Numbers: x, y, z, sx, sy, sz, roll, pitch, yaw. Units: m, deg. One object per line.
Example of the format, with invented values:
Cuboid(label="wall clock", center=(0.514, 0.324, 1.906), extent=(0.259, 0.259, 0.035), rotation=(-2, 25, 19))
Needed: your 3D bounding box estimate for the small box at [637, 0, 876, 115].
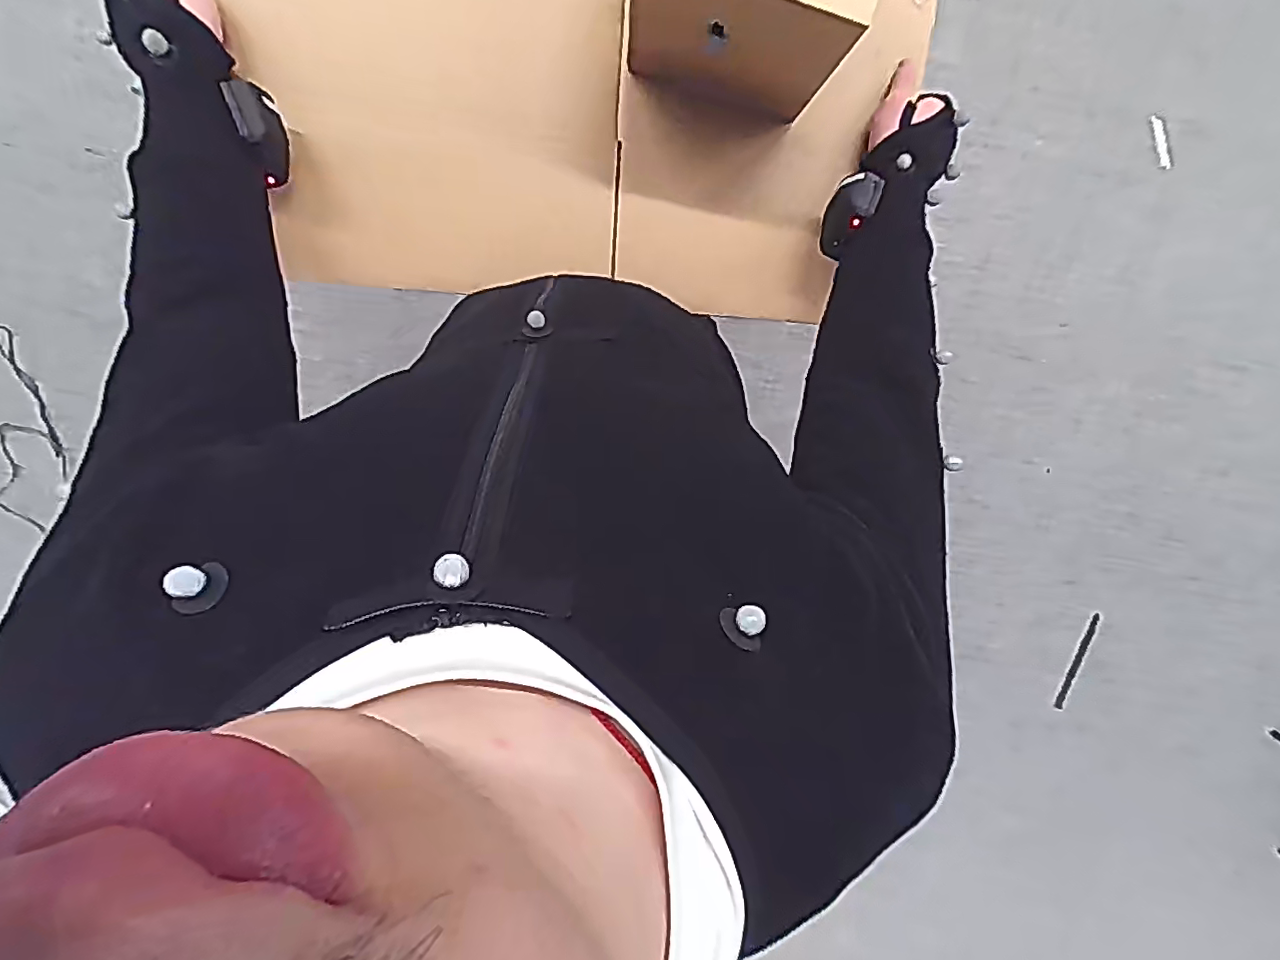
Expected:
Cuboid(label="small box", center=(0.099, -0.438, 0.443), extent=(0.179, 0.176, 0.168), rotation=(13, 103, -5))
